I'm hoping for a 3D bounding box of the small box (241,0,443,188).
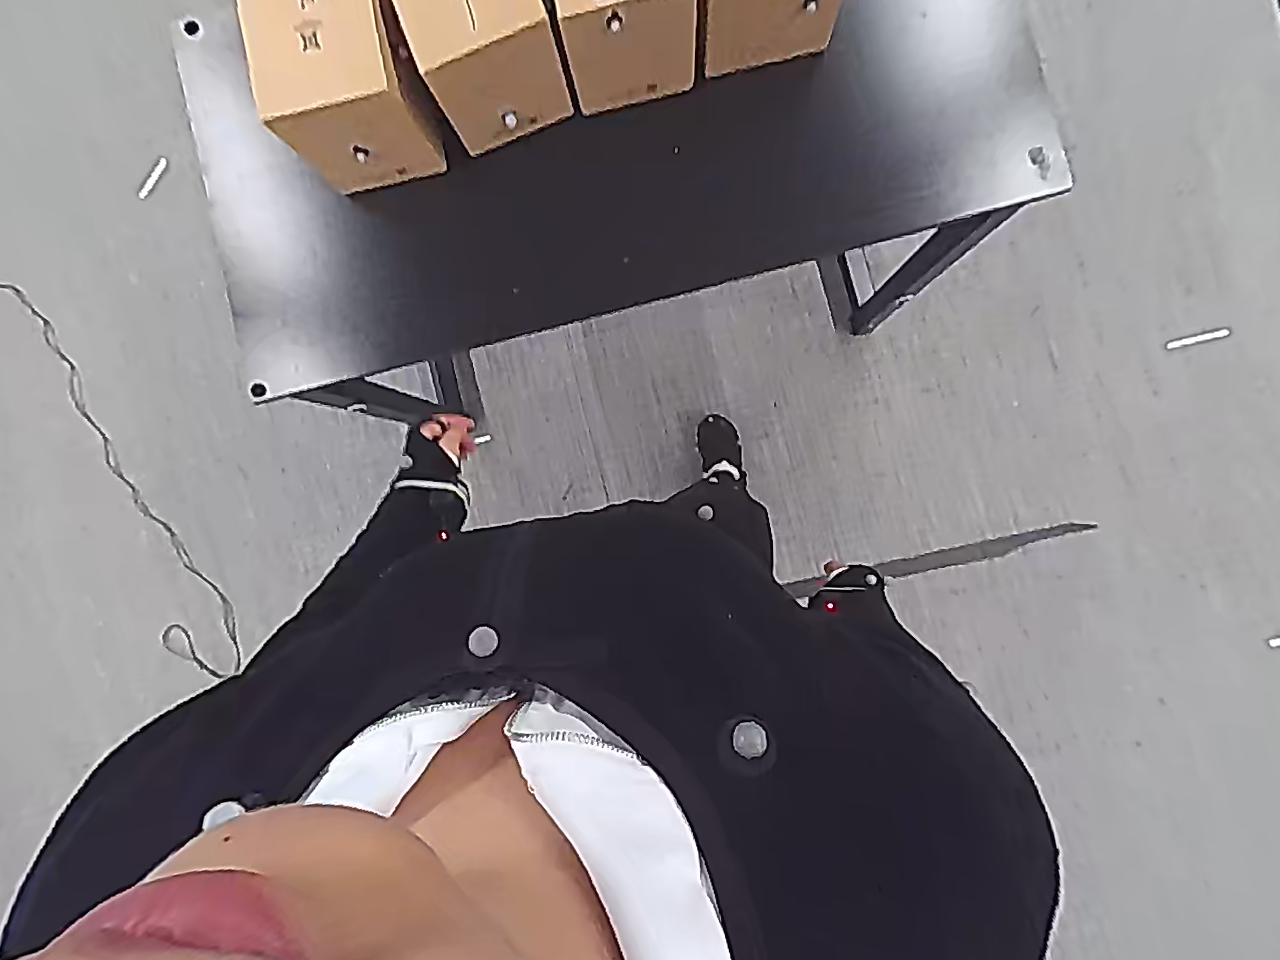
[{"bbox_3d":[-0.385,-0.524,0.728,0.168,0.176,0.179,-11,88,3],"label":"small box"}]
